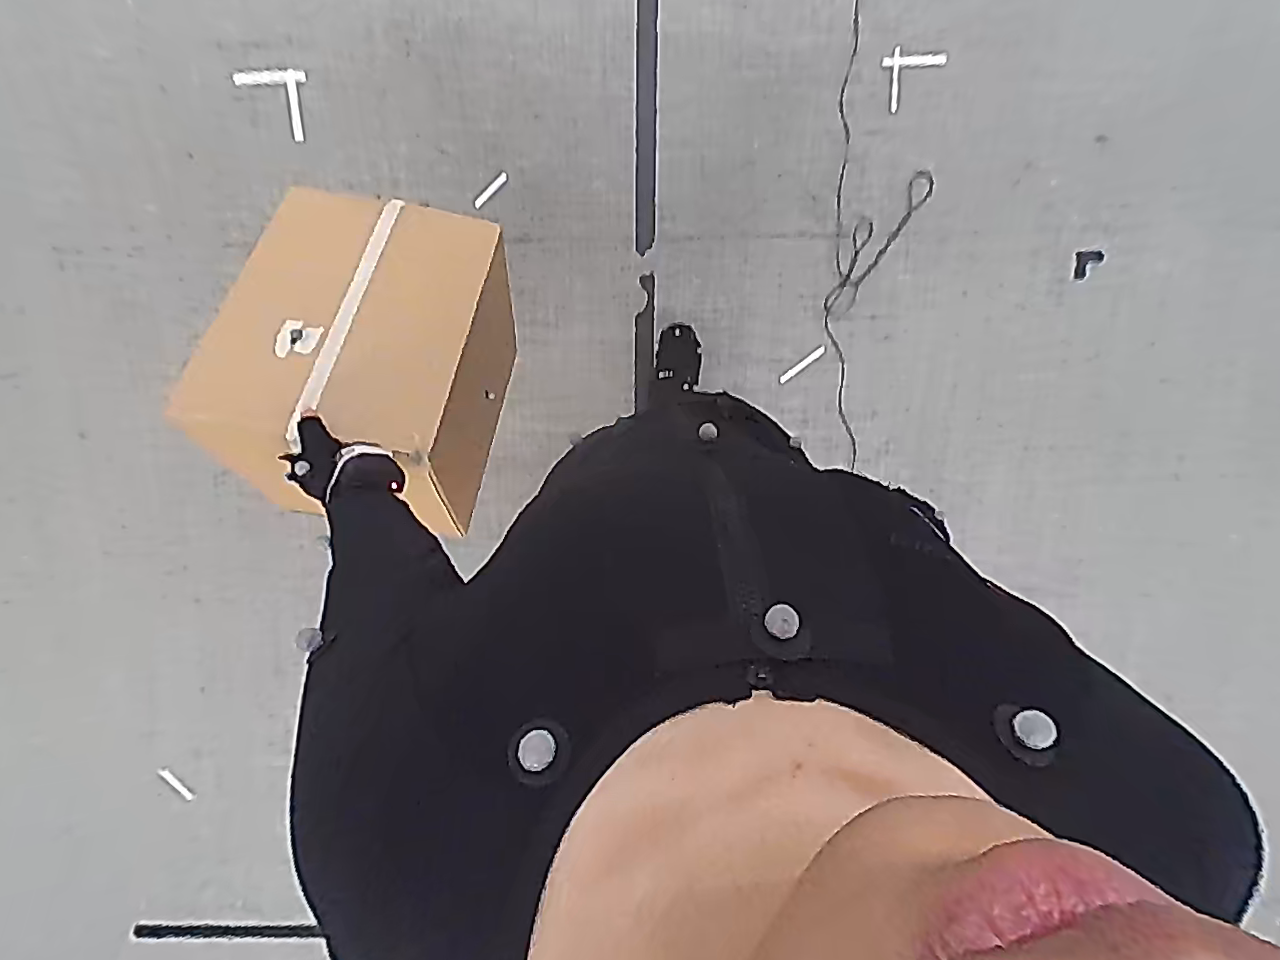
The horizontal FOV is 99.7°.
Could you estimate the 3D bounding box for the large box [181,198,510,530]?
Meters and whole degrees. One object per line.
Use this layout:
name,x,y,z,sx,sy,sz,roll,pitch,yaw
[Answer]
large box,-0.413,-0.169,0.886,0.320,0.320,0.408,8,66,-3
